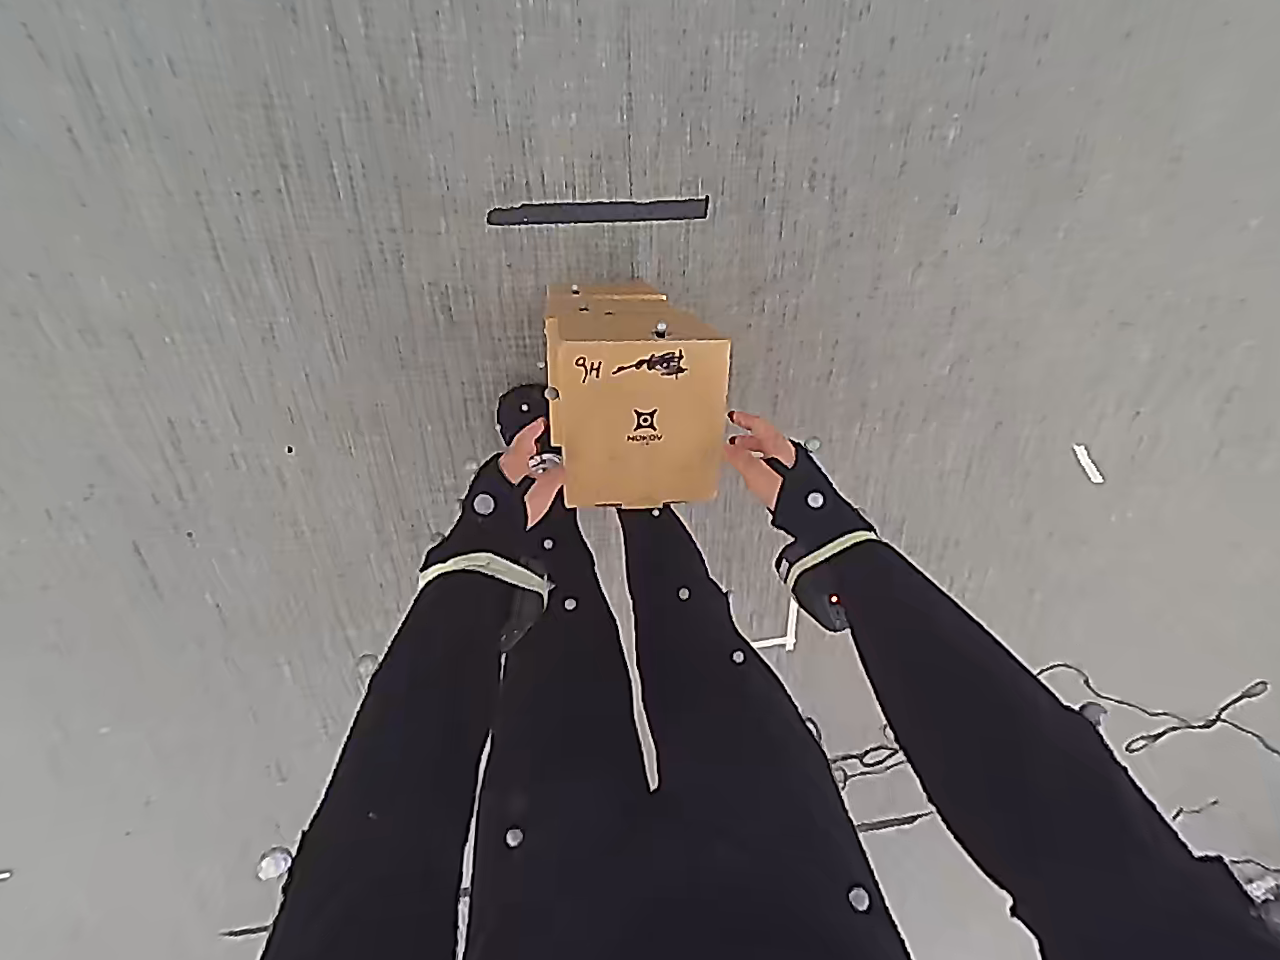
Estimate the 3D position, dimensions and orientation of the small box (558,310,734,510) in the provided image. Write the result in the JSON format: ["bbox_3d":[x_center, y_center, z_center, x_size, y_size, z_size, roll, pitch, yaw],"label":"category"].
[{"bbox_3d":[-0.006,-0.084,0.604,0.168,0.176,0.179,-2,117,-8],"label":"small box"}]

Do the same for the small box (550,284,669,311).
[{"bbox_3d":[-0.056,-0.228,0.894,0.179,0.176,0.168,-4,117,-7],"label":"small box"}]

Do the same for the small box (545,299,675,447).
[{"bbox_3d":[-0.039,-0.153,0.749,0.179,0.176,0.168,-2,117,-8],"label":"small box"}]
